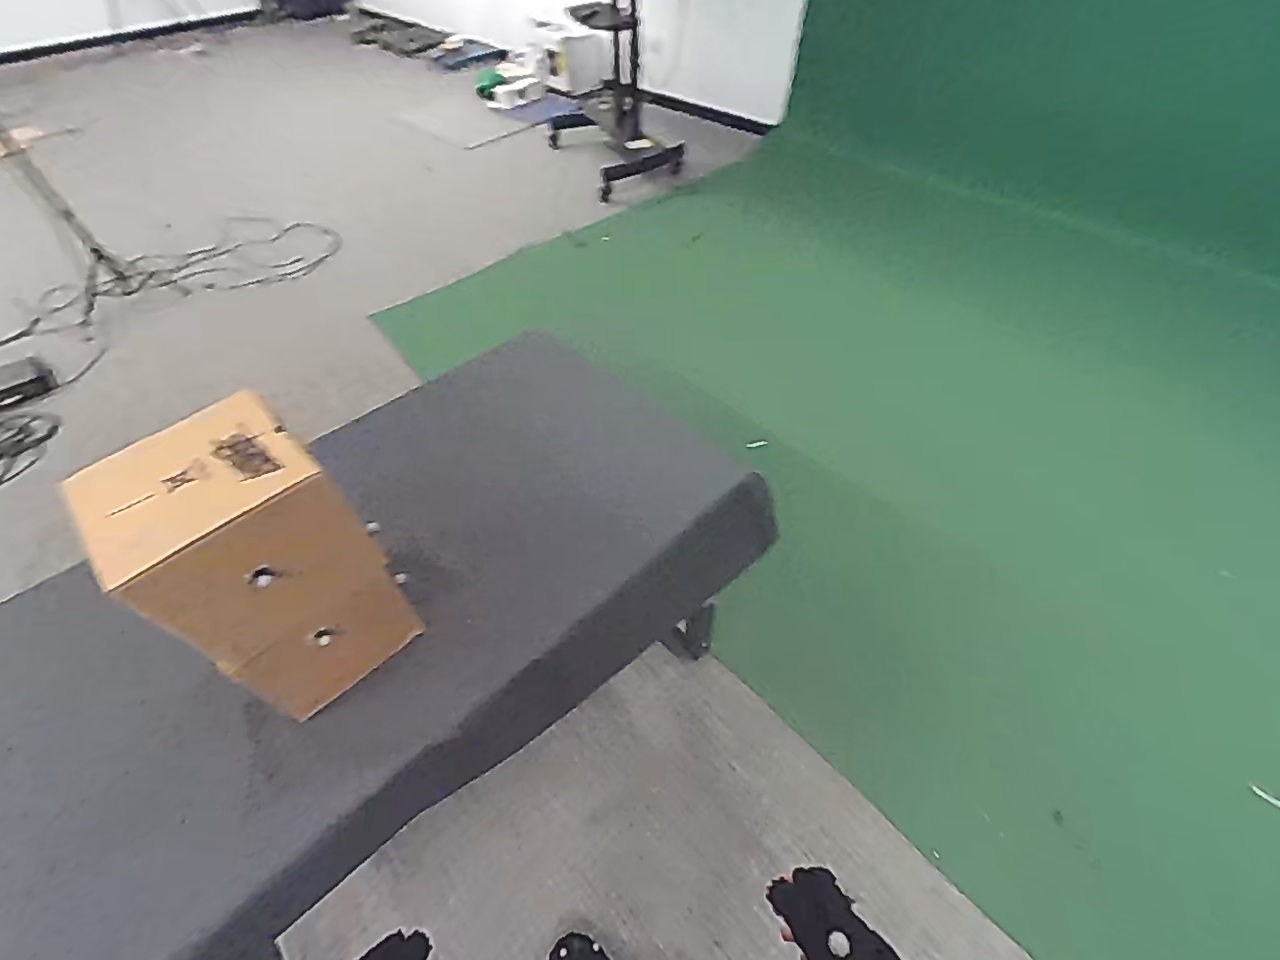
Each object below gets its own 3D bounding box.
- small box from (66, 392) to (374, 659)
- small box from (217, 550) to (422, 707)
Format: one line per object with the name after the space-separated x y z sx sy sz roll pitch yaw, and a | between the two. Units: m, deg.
-0.408 0.047 0.561 0.168 0.176 0.179 34 58 25 | small box
-0.414 0.152 0.687 0.179 0.176 0.168 -37 59 -27 | small box
